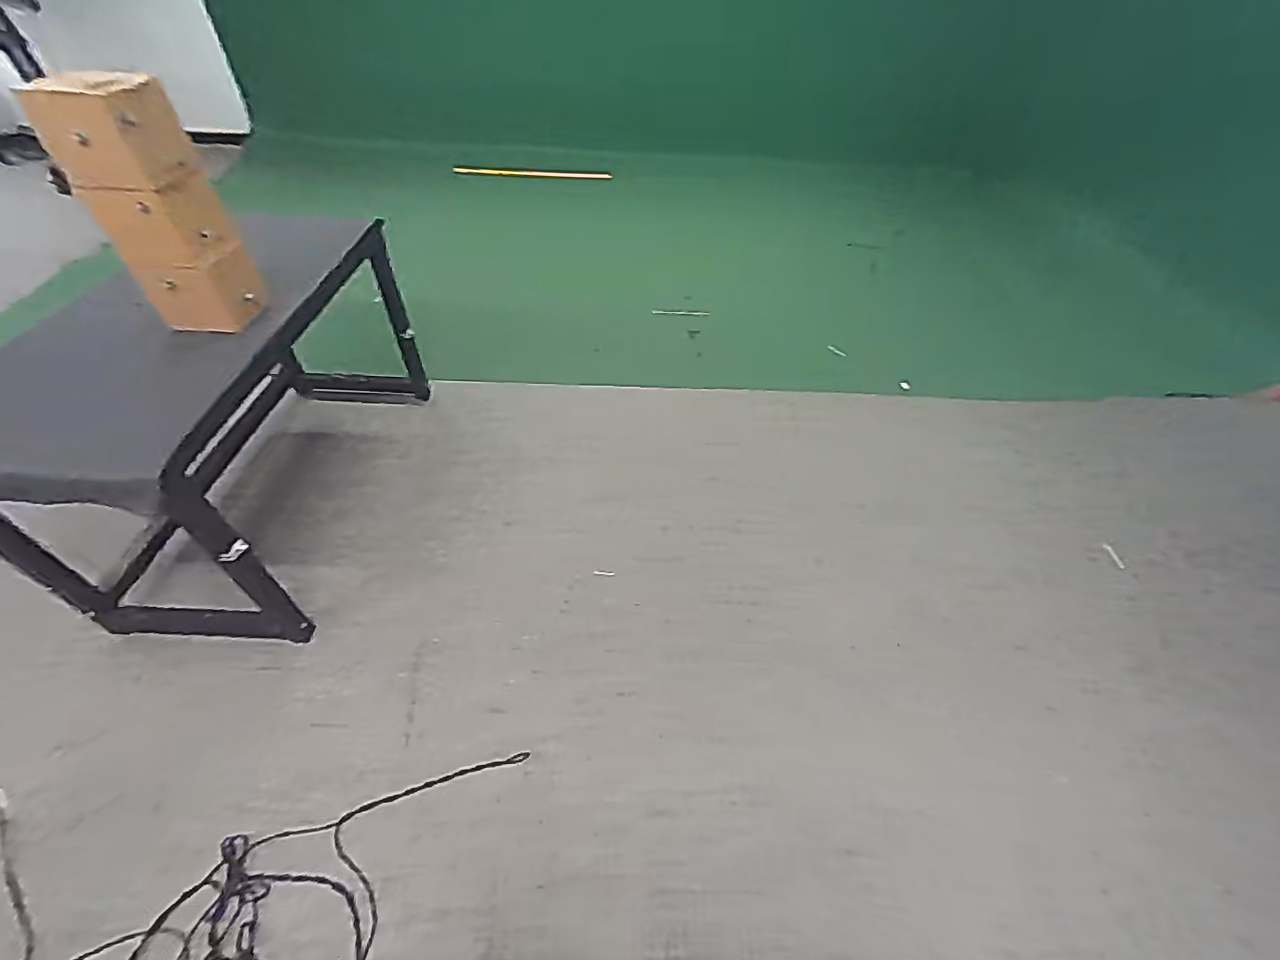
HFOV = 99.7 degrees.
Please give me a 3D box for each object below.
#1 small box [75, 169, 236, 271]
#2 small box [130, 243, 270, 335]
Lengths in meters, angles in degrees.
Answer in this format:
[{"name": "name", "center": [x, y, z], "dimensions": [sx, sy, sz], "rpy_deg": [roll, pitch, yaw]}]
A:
[{"name": "small box", "center": [-1.085, -0.589, 1.230], "dimensions": [0.179, 0.176, 0.168], "rpy_deg": [3, 46, 1]}, {"name": "small box", "center": [-1.080, -0.475, 1.346], "dimensions": [0.179, 0.176, 0.168], "rpy_deg": [3, 47, 0]}]
